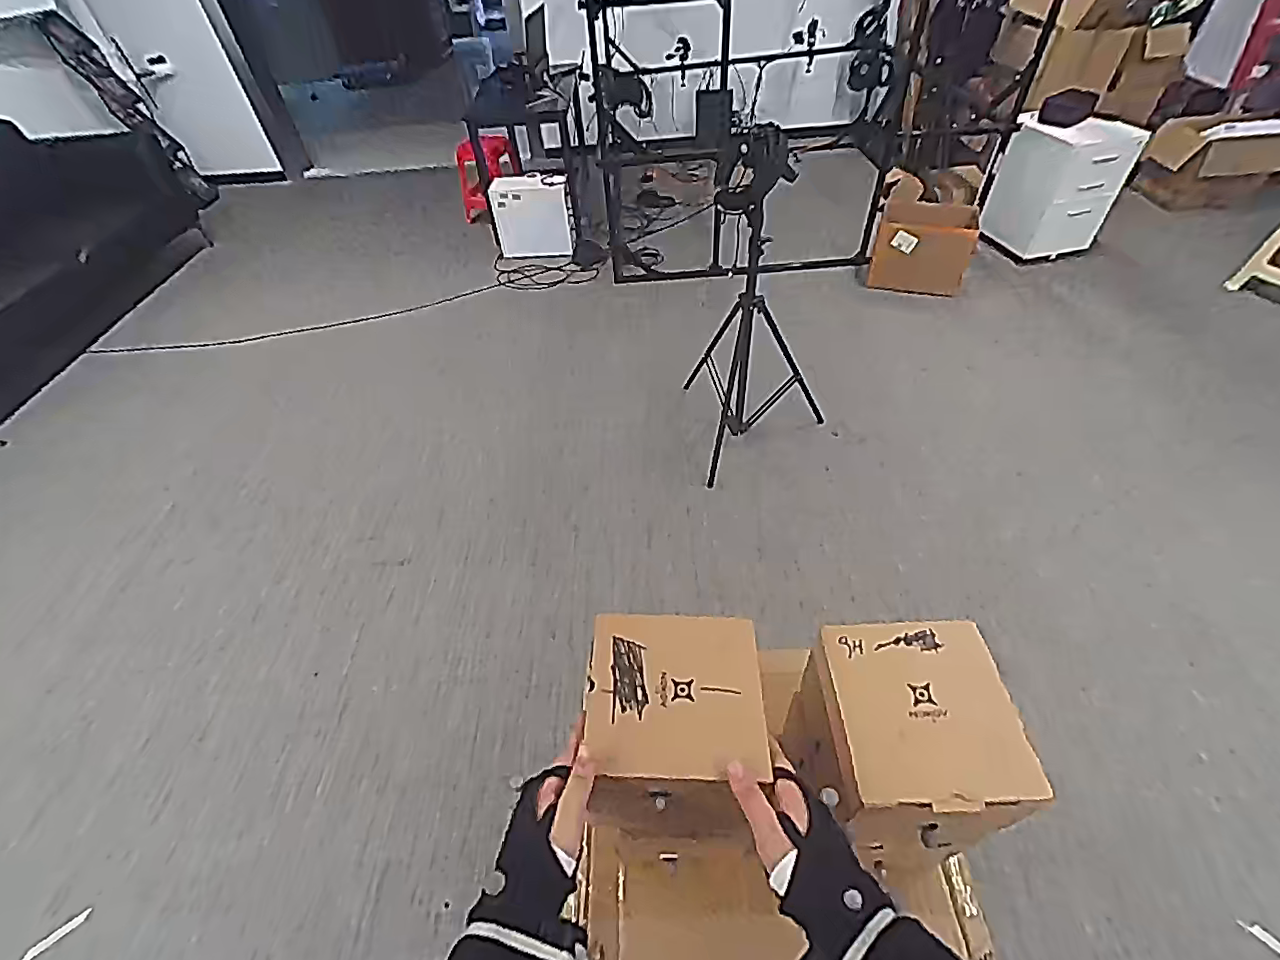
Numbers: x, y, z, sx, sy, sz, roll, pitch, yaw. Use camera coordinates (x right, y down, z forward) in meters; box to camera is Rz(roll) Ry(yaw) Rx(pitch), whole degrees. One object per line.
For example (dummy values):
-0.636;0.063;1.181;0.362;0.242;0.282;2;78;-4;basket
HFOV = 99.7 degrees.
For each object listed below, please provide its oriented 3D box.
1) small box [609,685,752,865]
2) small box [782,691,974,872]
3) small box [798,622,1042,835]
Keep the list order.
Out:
0.049;0.396;0.724;0.168;0.176;0.179;-4;48;2;small box
0.288;0.391;0.706;0.168;0.176;0.179;-4;47;3;small box
0.278;0.274;0.589;0.168;0.176;0.179;-2;48;3;small box
